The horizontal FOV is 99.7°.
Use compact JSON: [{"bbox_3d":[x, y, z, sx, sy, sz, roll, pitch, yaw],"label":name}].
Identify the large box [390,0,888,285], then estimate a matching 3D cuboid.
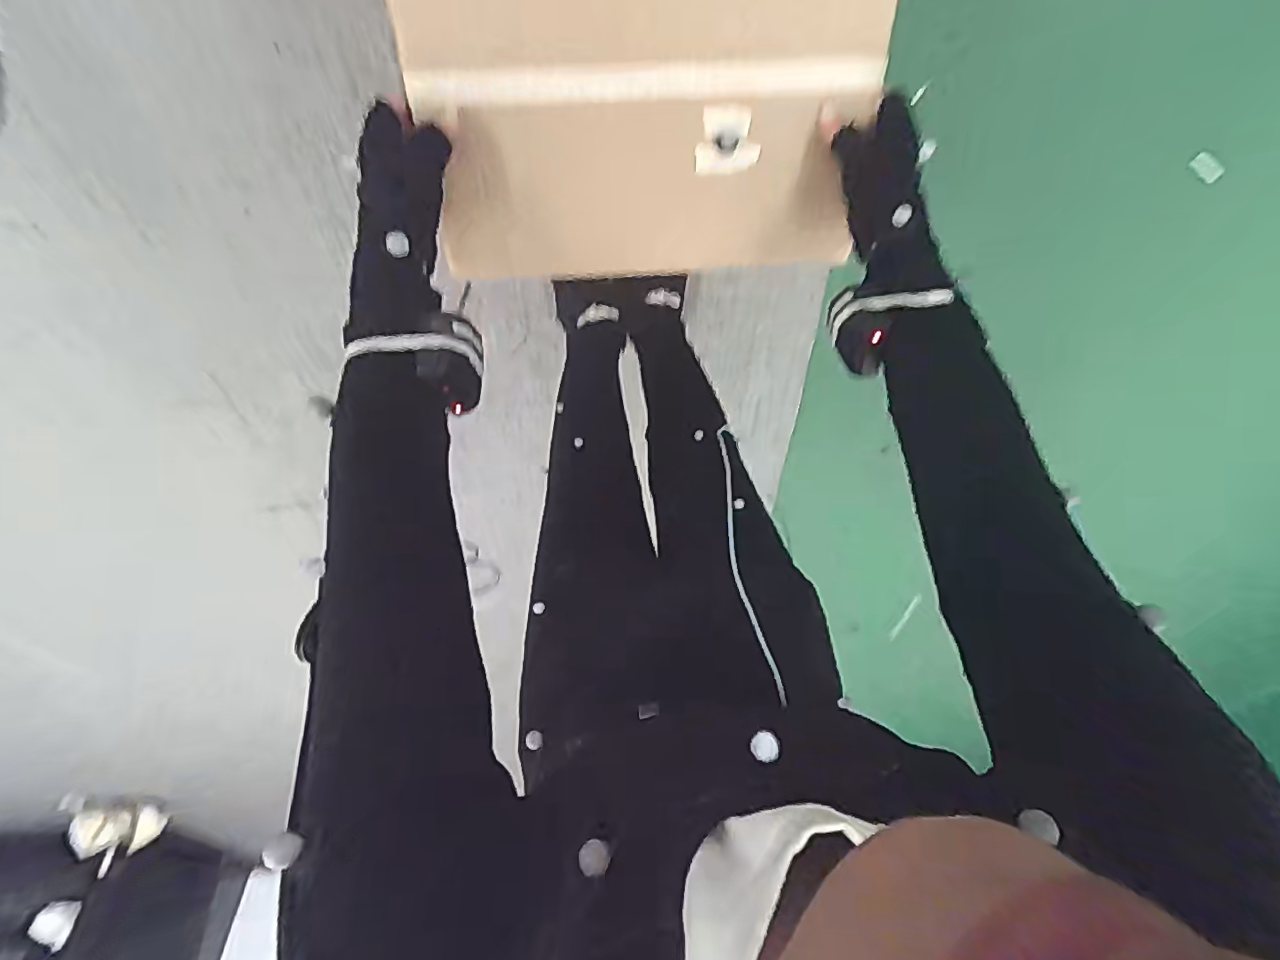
[{"bbox_3d":[-0.009,-0.418,0.582,0.408,0.320,0.320,-4,125,-4],"label":"large box"}]
